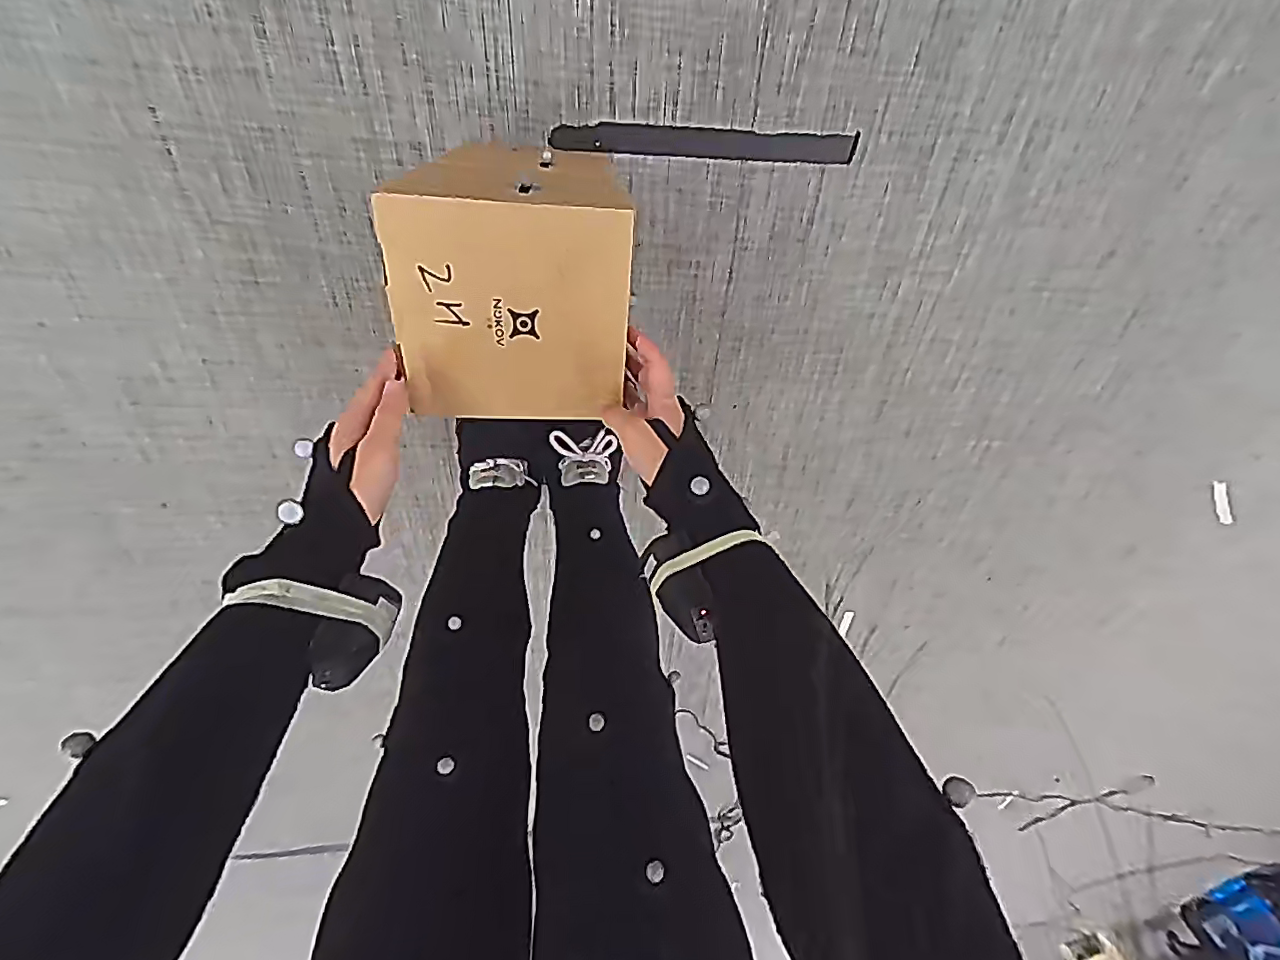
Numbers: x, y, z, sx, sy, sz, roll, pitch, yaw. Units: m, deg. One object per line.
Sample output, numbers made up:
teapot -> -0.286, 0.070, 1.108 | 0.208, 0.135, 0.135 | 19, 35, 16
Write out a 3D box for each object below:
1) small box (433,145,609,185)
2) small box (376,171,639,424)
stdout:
small box -> -0.119, -0.258, 0.605 | 0.168, 0.176, 0.179 | 1, 126, -8
small box -> -0.101, -0.162, 0.470 | 0.179, 0.176, 0.168 | 1, 125, -7
